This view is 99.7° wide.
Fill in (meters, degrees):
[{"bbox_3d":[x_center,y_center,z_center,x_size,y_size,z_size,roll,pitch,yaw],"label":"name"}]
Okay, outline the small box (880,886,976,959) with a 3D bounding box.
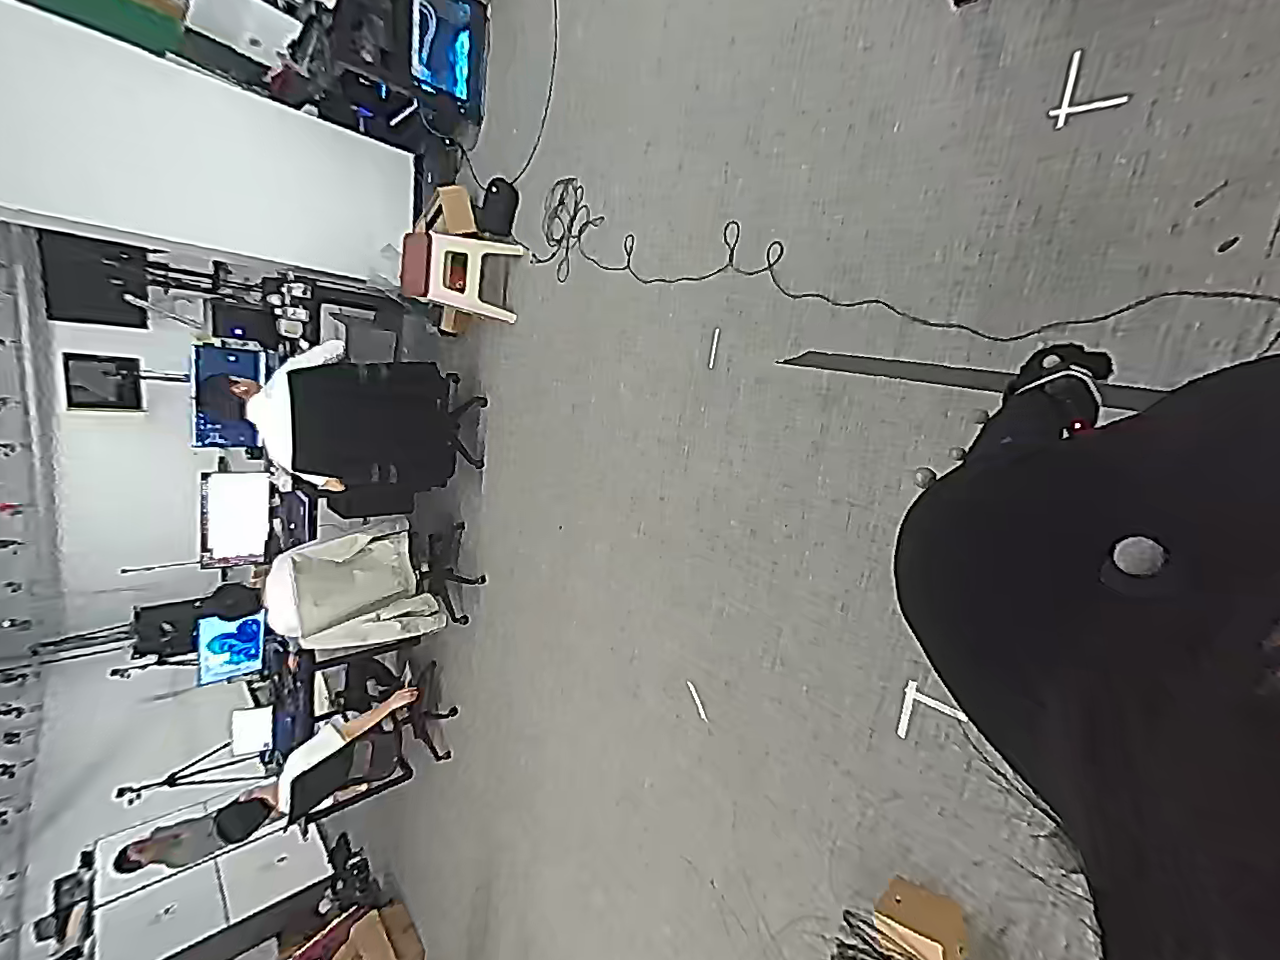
[{"bbox_3d":[0.759,1.219,1.422,0.179,0.176,0.168,-6,89,46],"label":"small box"}]
